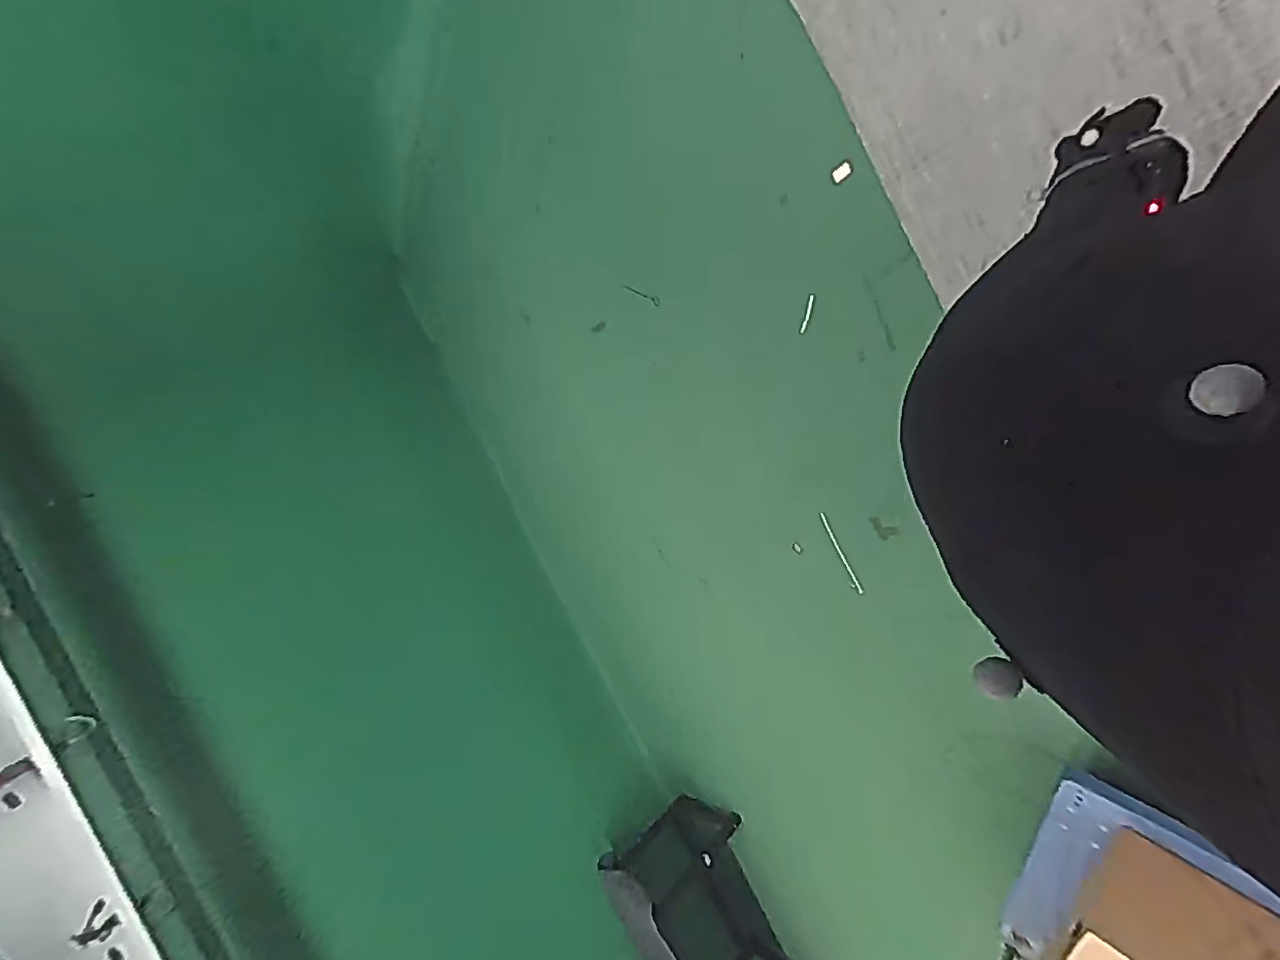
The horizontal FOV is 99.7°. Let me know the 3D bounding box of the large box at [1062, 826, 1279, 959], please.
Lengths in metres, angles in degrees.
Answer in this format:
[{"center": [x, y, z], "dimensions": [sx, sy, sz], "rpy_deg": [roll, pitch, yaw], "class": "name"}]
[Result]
[{"center": [1.246, 1.095, 1.195], "dimensions": [0.408, 0.320, 0.320], "rpy_deg": [26, 134, 42], "class": "large box"}]
